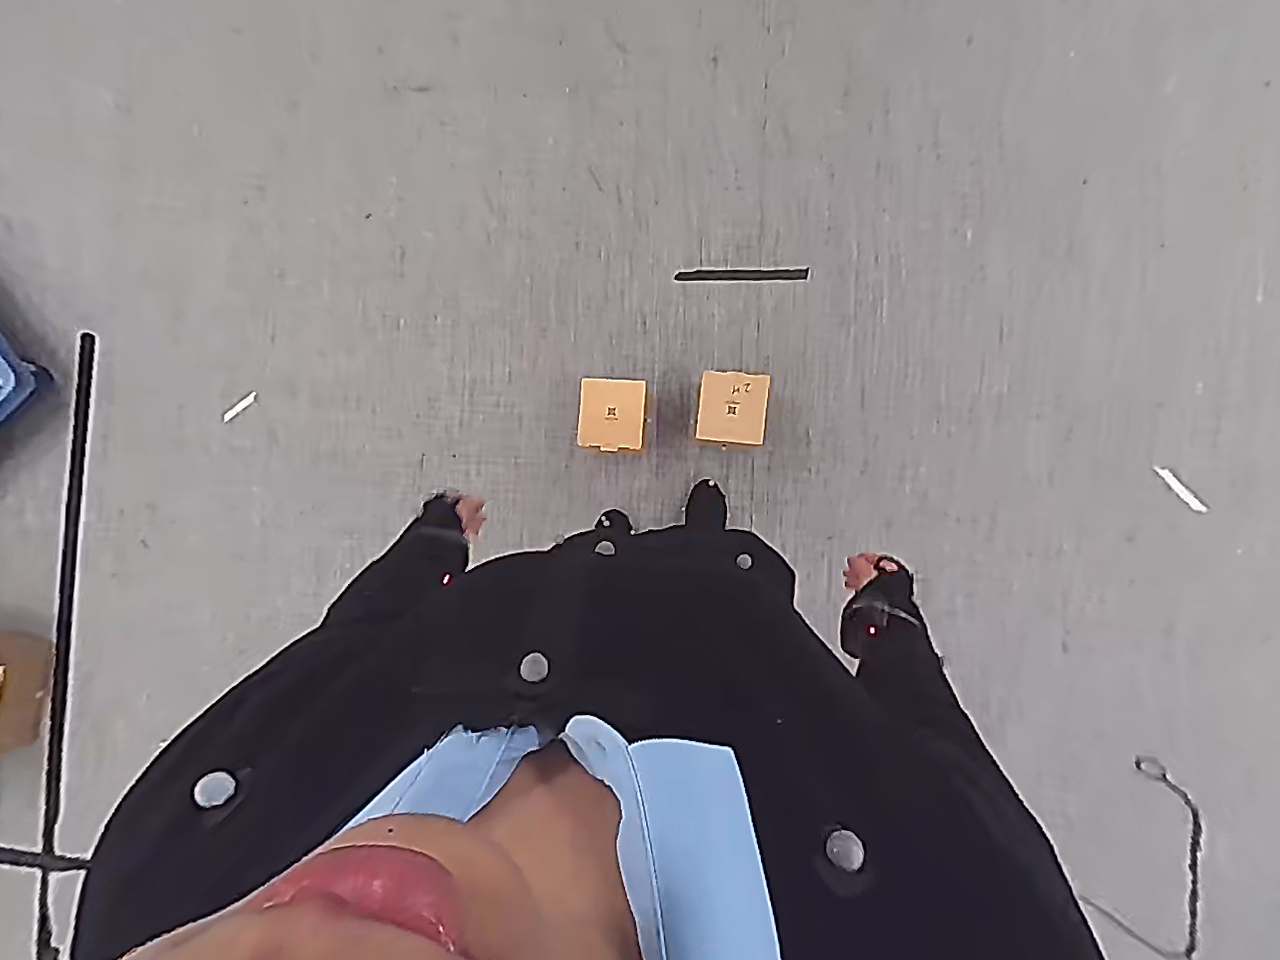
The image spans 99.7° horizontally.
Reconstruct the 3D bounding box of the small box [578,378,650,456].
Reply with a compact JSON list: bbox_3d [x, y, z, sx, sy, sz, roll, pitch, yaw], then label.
[{"bbox_3d":[-0.063,-0.162,1.434,0.168,0.176,0.179,4,89,5],"label":"small box"}]

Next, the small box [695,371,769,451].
[{"bbox_3d":[0.234,-0.173,1.405,0.168,0.176,0.179,6,88,5],"label":"small box"}]
